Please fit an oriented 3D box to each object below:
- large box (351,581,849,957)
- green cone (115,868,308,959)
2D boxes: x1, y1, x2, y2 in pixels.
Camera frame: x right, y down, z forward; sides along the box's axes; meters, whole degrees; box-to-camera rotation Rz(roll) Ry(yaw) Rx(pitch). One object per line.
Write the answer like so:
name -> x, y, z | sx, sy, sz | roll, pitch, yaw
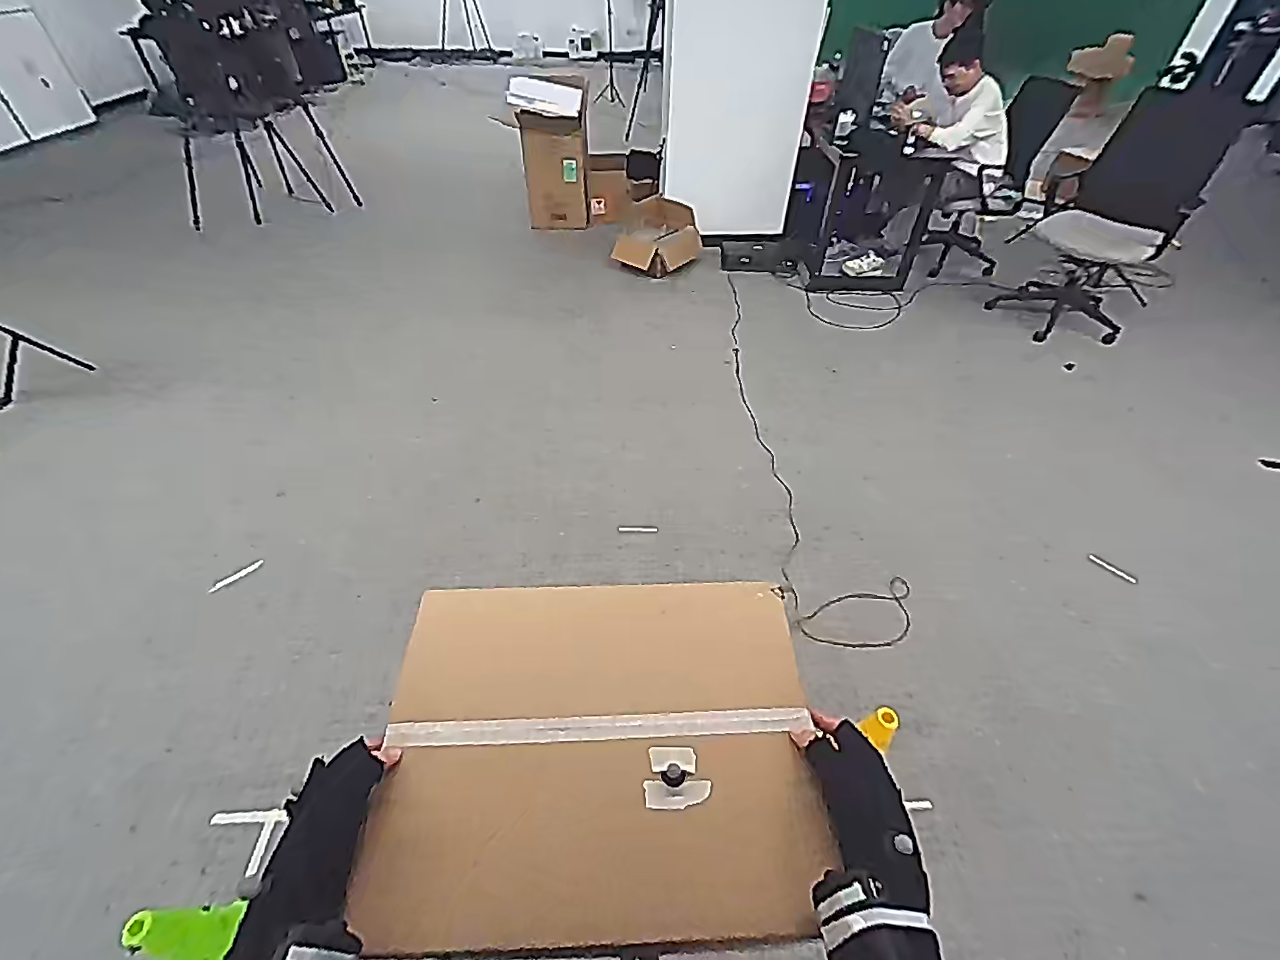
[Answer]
large box -> -0.038, 0.337, 0.633 | 0.408, 0.320, 0.320 | -1, 48, -2
green cone -> -0.810, 0.835, 0.992 | 0.202, 0.368, 0.200 | -29, 51, -25
